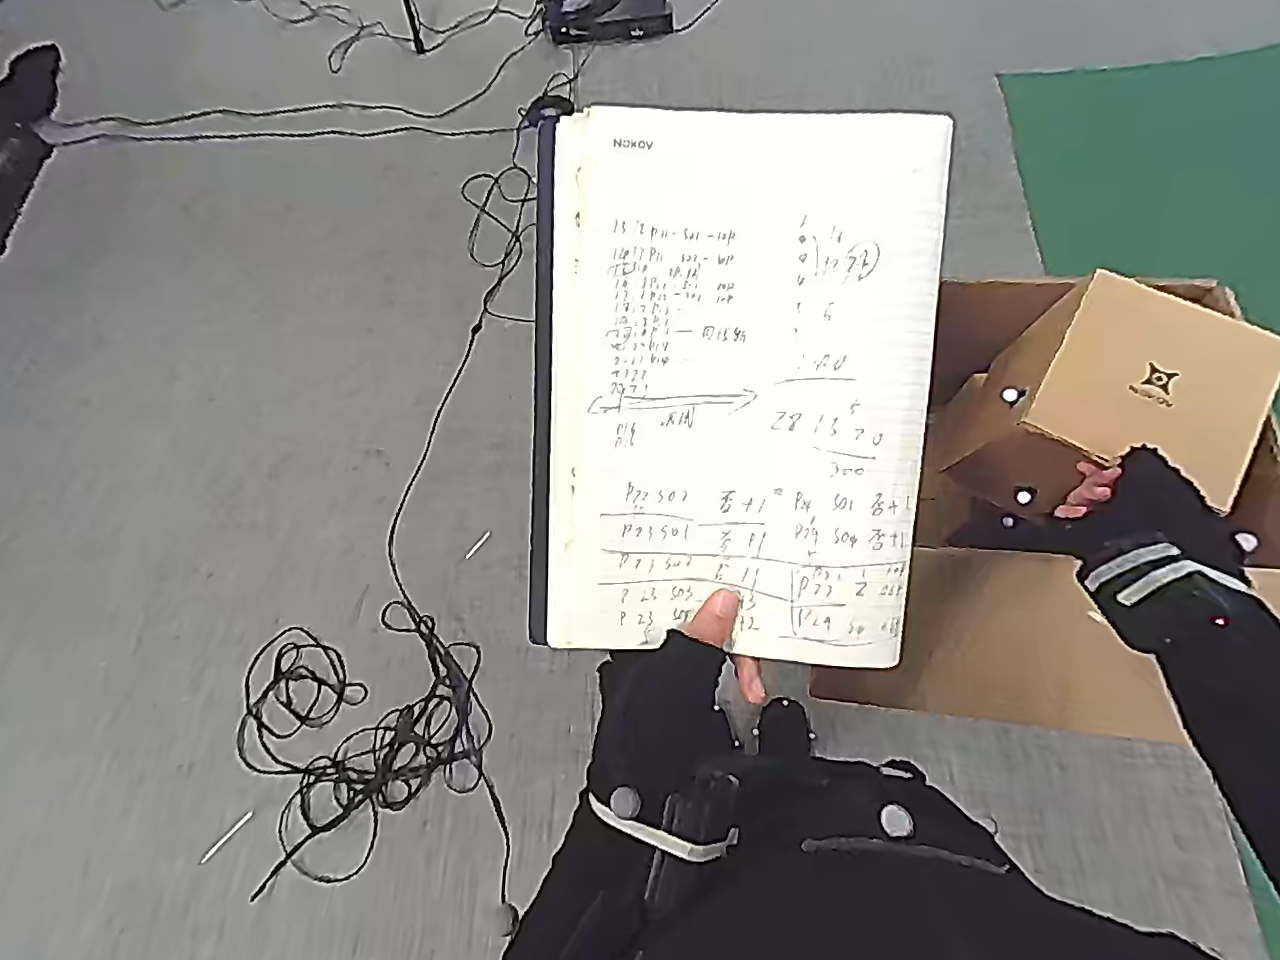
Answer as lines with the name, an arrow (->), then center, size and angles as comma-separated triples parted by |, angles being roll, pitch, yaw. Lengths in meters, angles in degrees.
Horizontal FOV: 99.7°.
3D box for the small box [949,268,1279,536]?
small box -> 0.448, -0.064, 0.540 | 0.168, 0.176, 0.179 | 28, 80, 12
